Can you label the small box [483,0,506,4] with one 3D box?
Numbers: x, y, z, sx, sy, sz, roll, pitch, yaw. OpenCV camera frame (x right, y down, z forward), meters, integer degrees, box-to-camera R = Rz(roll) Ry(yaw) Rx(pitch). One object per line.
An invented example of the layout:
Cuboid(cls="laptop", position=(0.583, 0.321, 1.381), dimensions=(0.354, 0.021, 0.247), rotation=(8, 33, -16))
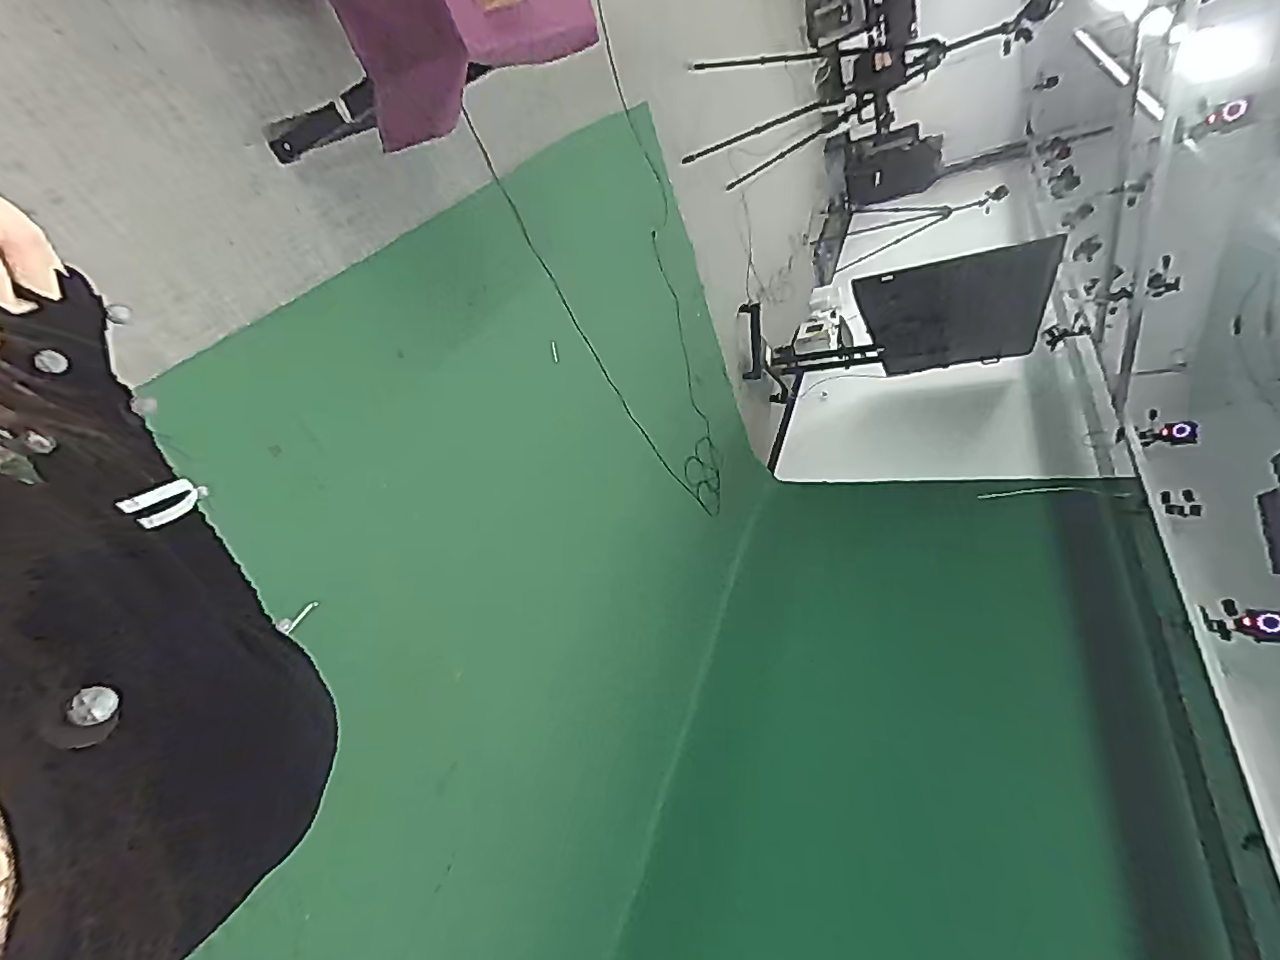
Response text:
Cuboid(cls="small box", position=(-0.263, -1.080, 1.065), dimensions=(0.179, 0.176, 0.168), rotation=(64, 38, -35))
